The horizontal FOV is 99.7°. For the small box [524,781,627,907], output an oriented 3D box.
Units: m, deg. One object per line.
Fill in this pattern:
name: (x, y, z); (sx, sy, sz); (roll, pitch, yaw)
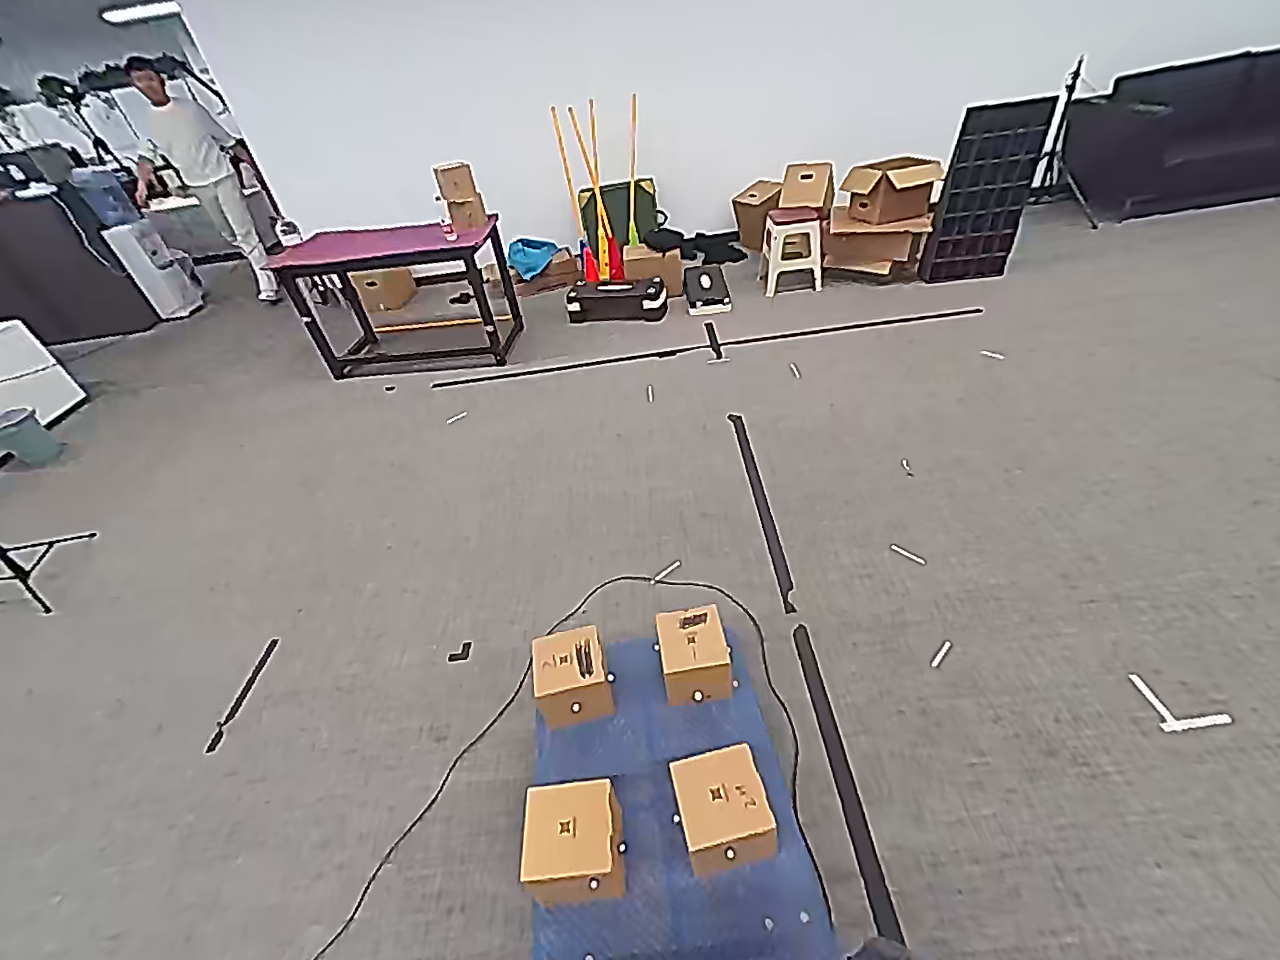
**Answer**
small box: (-0.127, 0.751, 1.113); (0.179, 0.176, 0.168); (-8, 39, 0)

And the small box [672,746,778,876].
small box: (0.176, 0.691, 1.125); (0.179, 0.176, 0.168); (-13, 40, -4)

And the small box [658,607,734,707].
small box: (0.143, 0.460, 1.408); (0.168, 0.176, 0.179); (-9, 41, 0)
